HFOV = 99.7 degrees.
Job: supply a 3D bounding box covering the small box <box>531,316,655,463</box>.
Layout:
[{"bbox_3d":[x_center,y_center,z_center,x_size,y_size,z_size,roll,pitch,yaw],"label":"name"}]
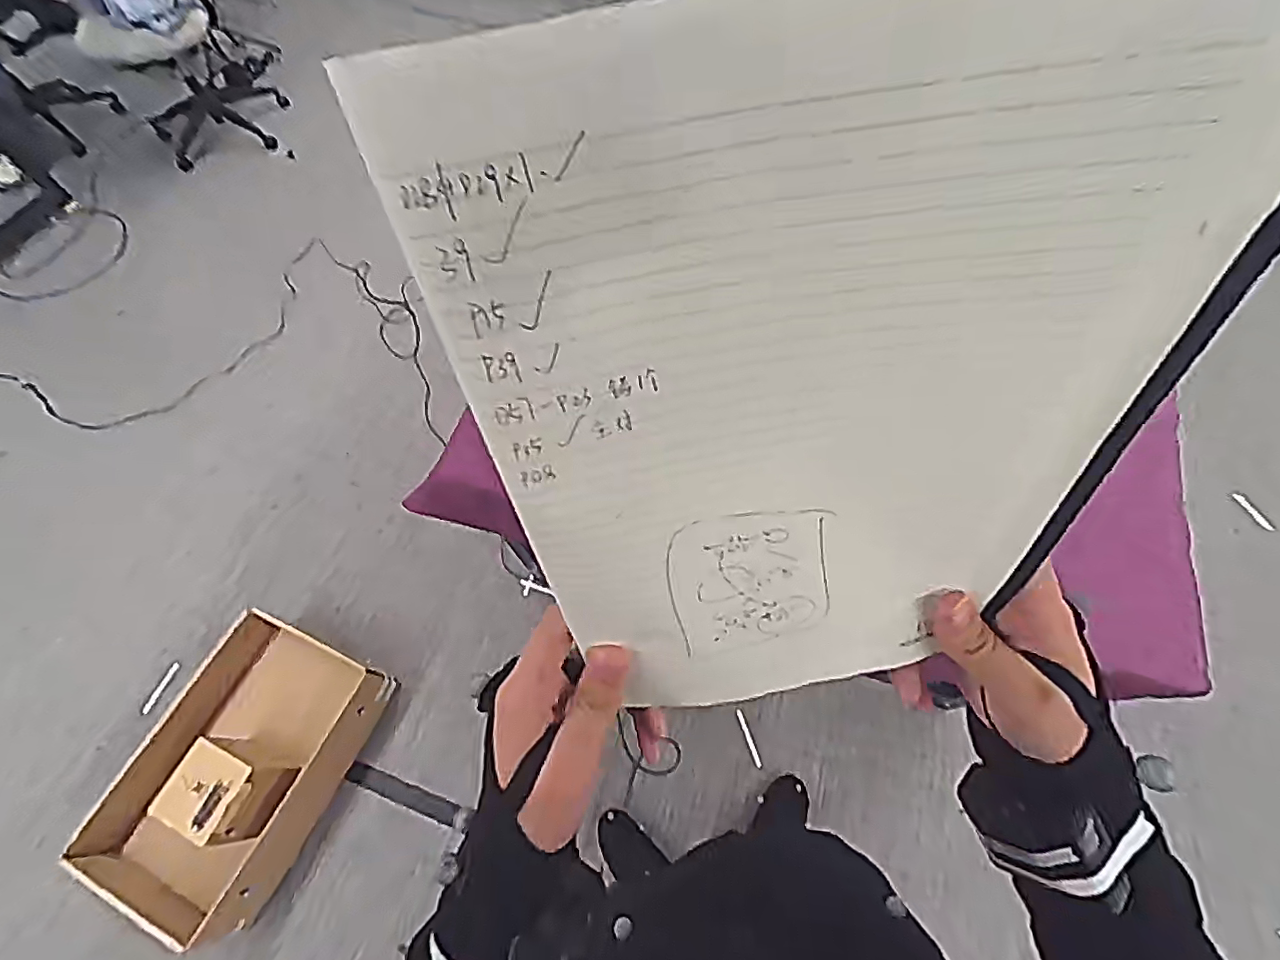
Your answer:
[{"bbox_3d":[-0.068,-0.147,0.916,0.168,0.176,0.179,9,64,6],"label":"small box"}]
